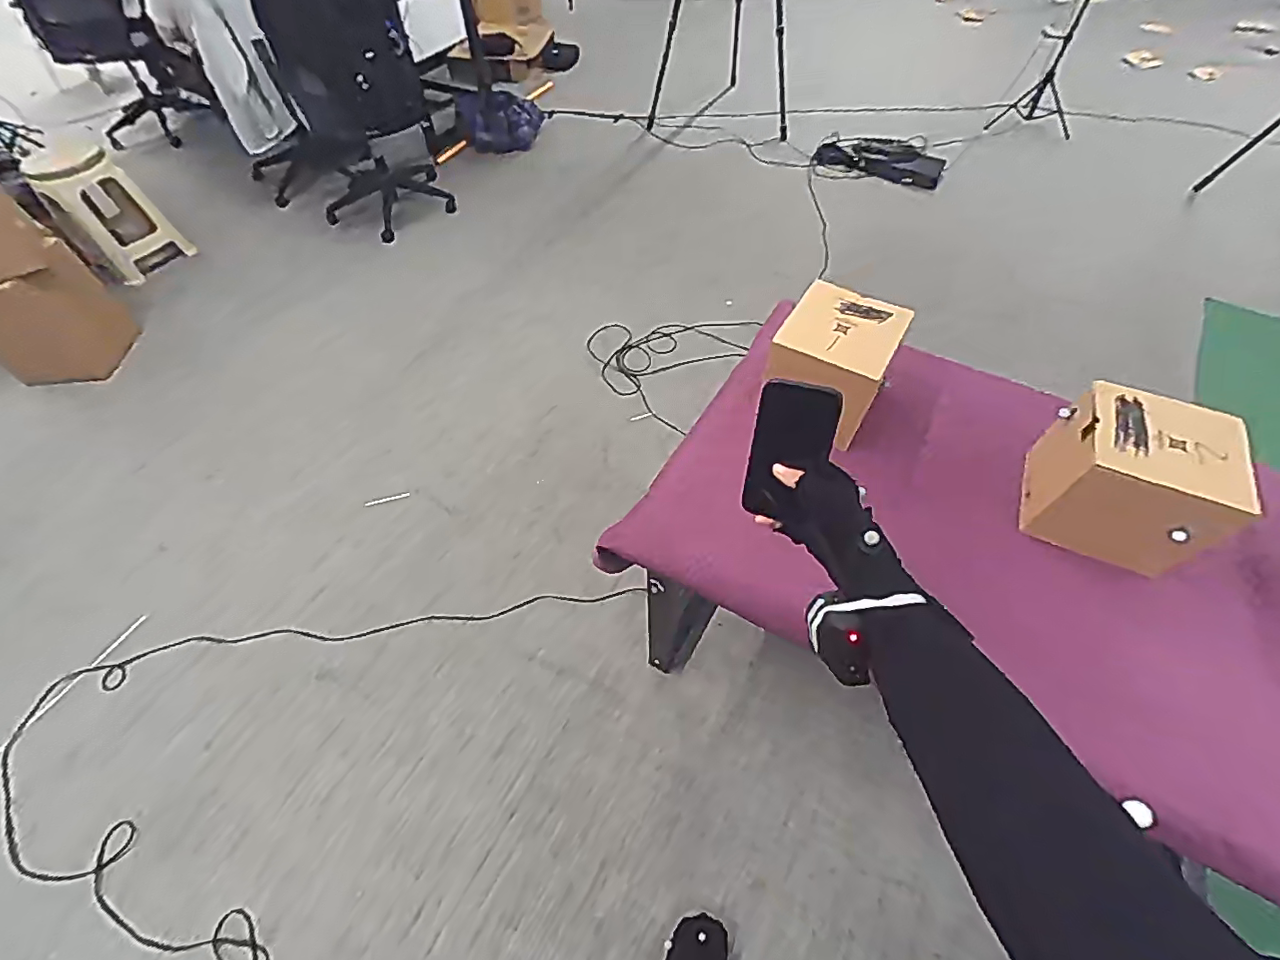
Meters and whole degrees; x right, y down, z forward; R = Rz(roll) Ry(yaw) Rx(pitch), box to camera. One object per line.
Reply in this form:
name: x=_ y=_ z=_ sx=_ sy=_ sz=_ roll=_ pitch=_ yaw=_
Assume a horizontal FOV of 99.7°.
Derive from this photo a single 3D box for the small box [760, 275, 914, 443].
small box: x=0.310 y=-0.195 z=0.882 sx=0.168 sy=0.176 sz=0.179 roll=27 pitch=62 yaw=19
